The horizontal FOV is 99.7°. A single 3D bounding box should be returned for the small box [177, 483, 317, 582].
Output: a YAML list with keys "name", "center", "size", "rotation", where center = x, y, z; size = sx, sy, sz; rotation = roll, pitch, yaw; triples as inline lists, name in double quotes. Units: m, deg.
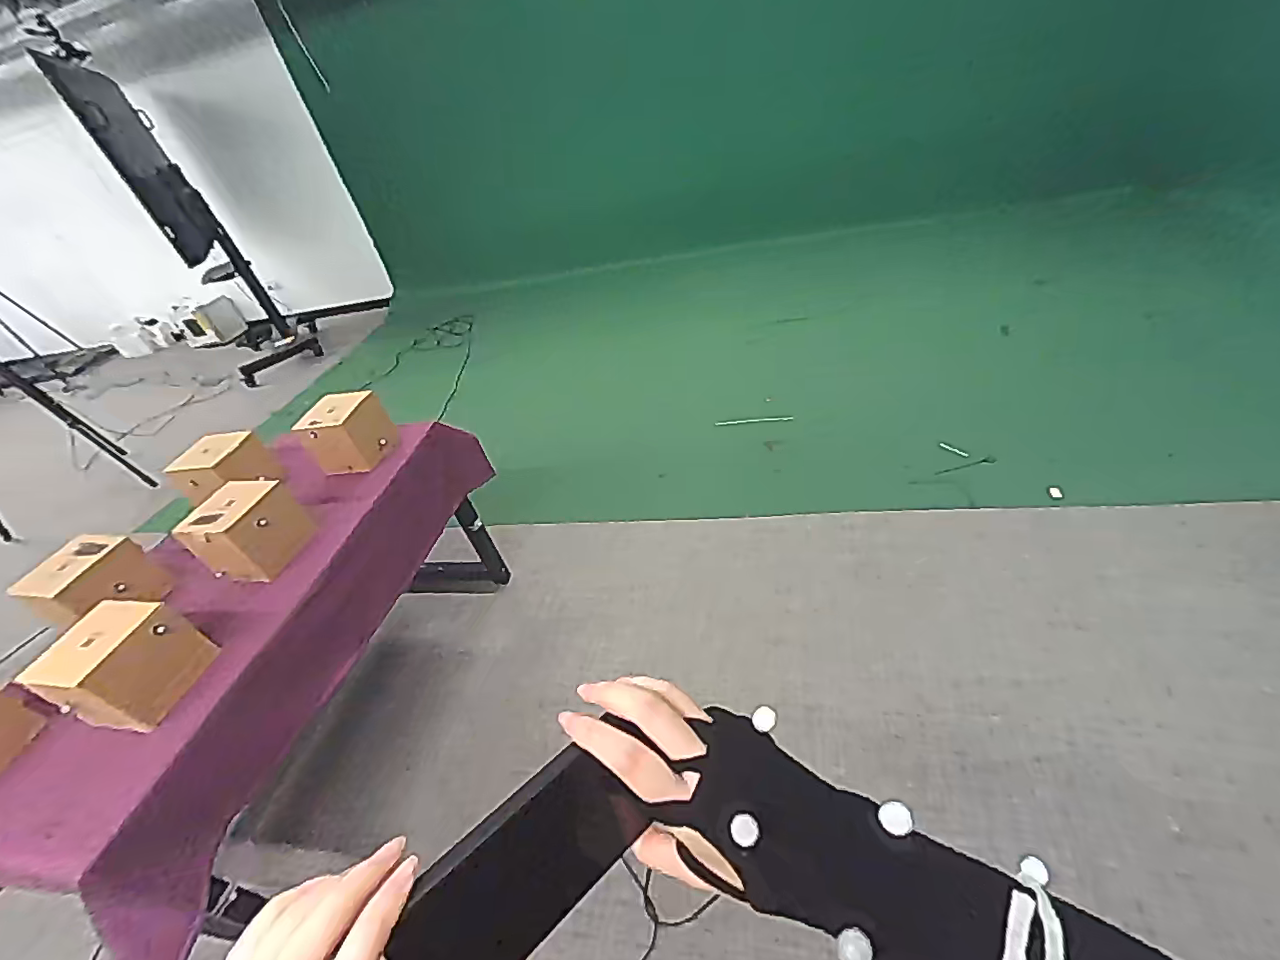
- name: "small box"
  center: [-0.926, 0.126, 1.294]
  size: [0.168, 0.176, 0.179]
  rotation: [-1, 40, 18]

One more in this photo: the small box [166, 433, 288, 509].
- name: "small box"
  center: [-1.162, -0.012, 1.536]
  size: [0.179, 0.176, 0.168]
  rotation: [-4, 41, 13]

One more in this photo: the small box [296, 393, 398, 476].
- name: "small box"
  center: [-0.841, -0.132, 1.575]
  size: [0.168, 0.176, 0.179]
  rotation: [-4, 40, 15]

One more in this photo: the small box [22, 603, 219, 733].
- name: "small box"
  center: [-0.970, 0.357, 1.031]
  size: [0.168, 0.176, 0.179]
  rotation: [-2, 39, 16]
